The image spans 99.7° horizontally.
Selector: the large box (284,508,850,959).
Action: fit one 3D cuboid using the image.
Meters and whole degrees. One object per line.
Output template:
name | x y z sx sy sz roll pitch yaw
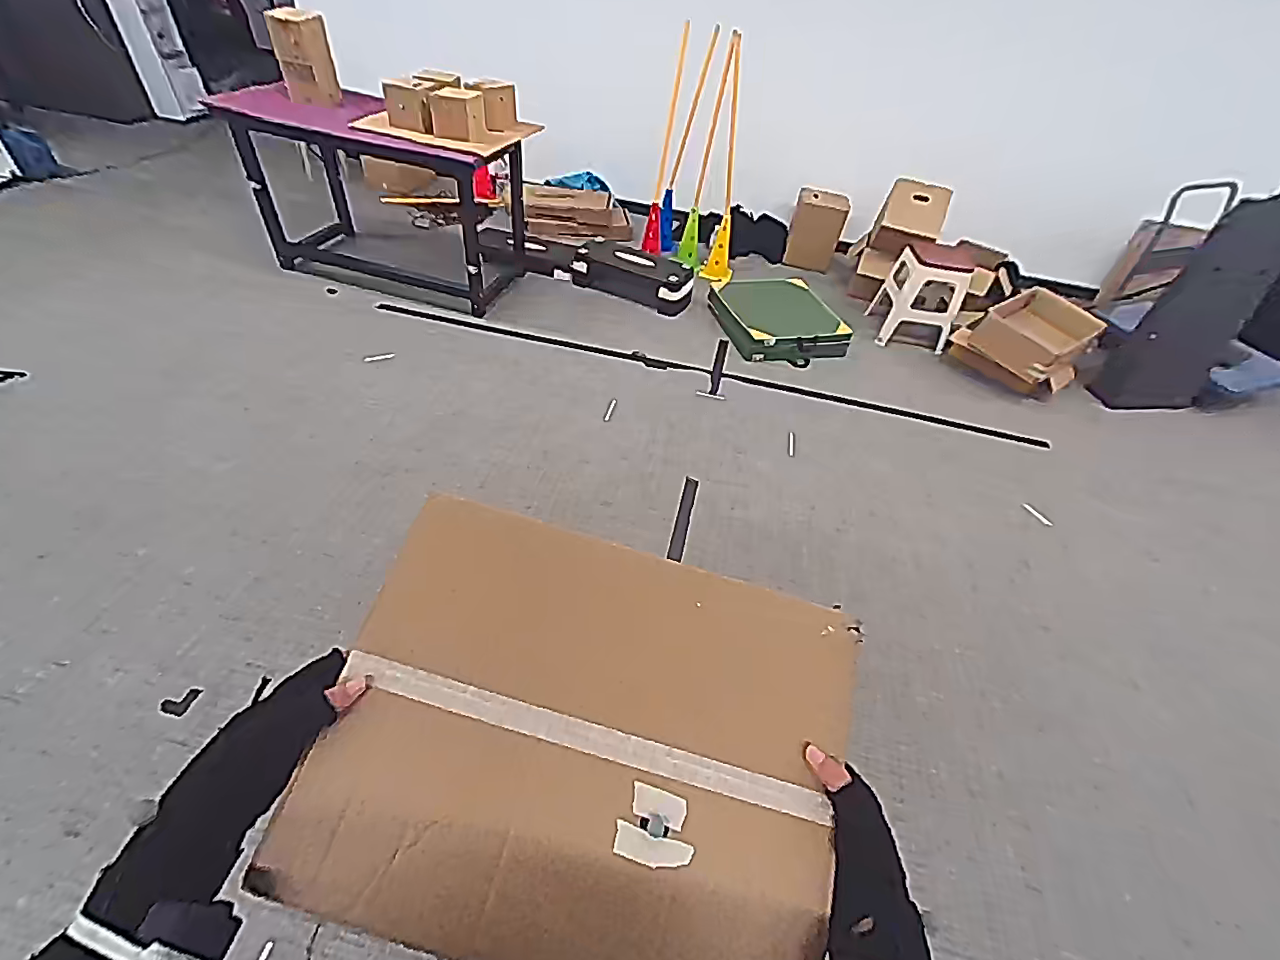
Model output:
large box | -0.047 0.269 0.585 0.408 0.320 0.320 16 68 3
